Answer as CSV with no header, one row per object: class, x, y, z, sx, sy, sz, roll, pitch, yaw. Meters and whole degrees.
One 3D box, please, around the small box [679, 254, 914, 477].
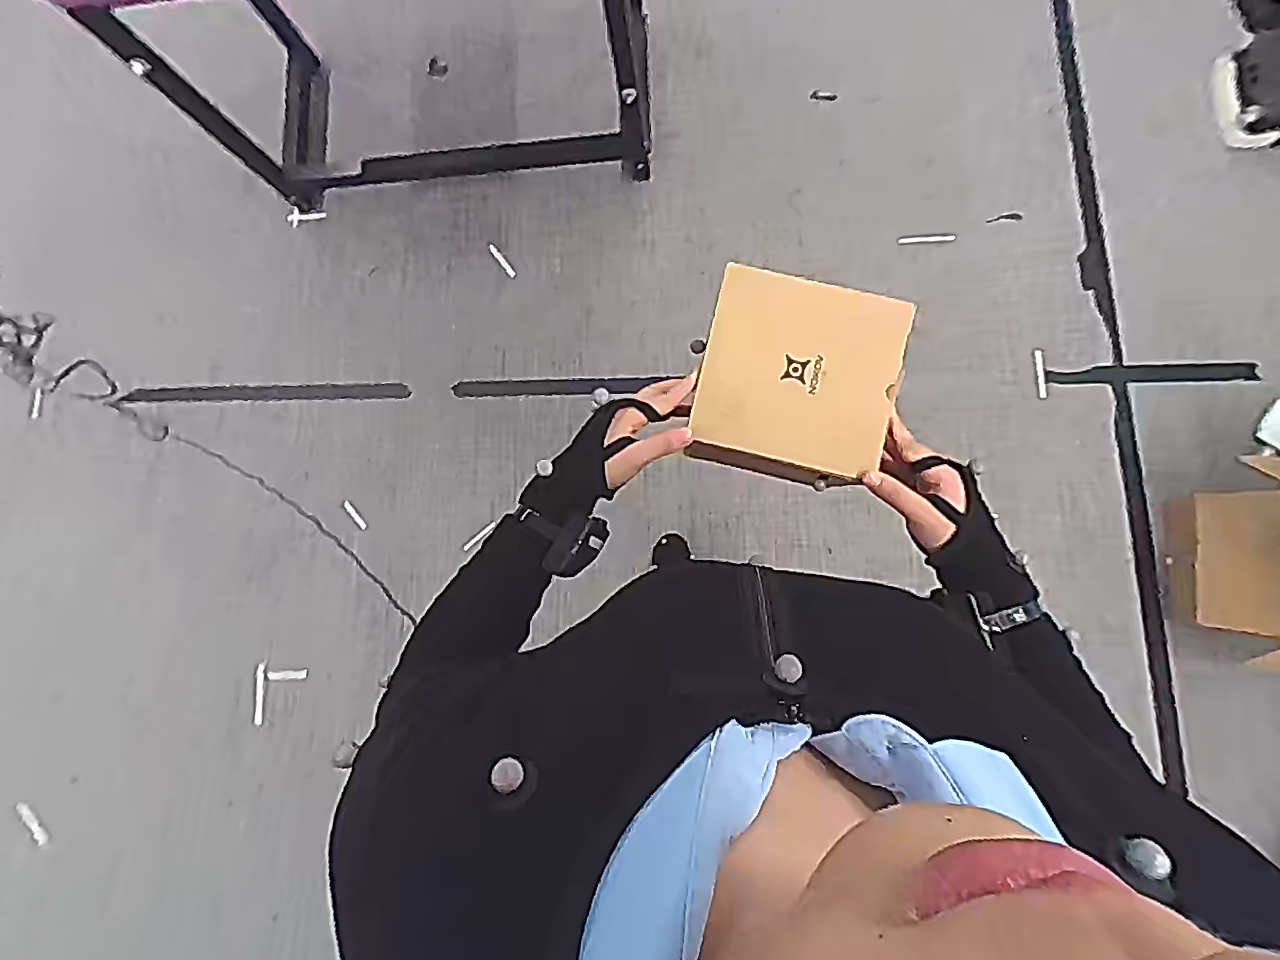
small box,0.141,-0.100,0.554,0.179,0.176,0.168,13,88,2
